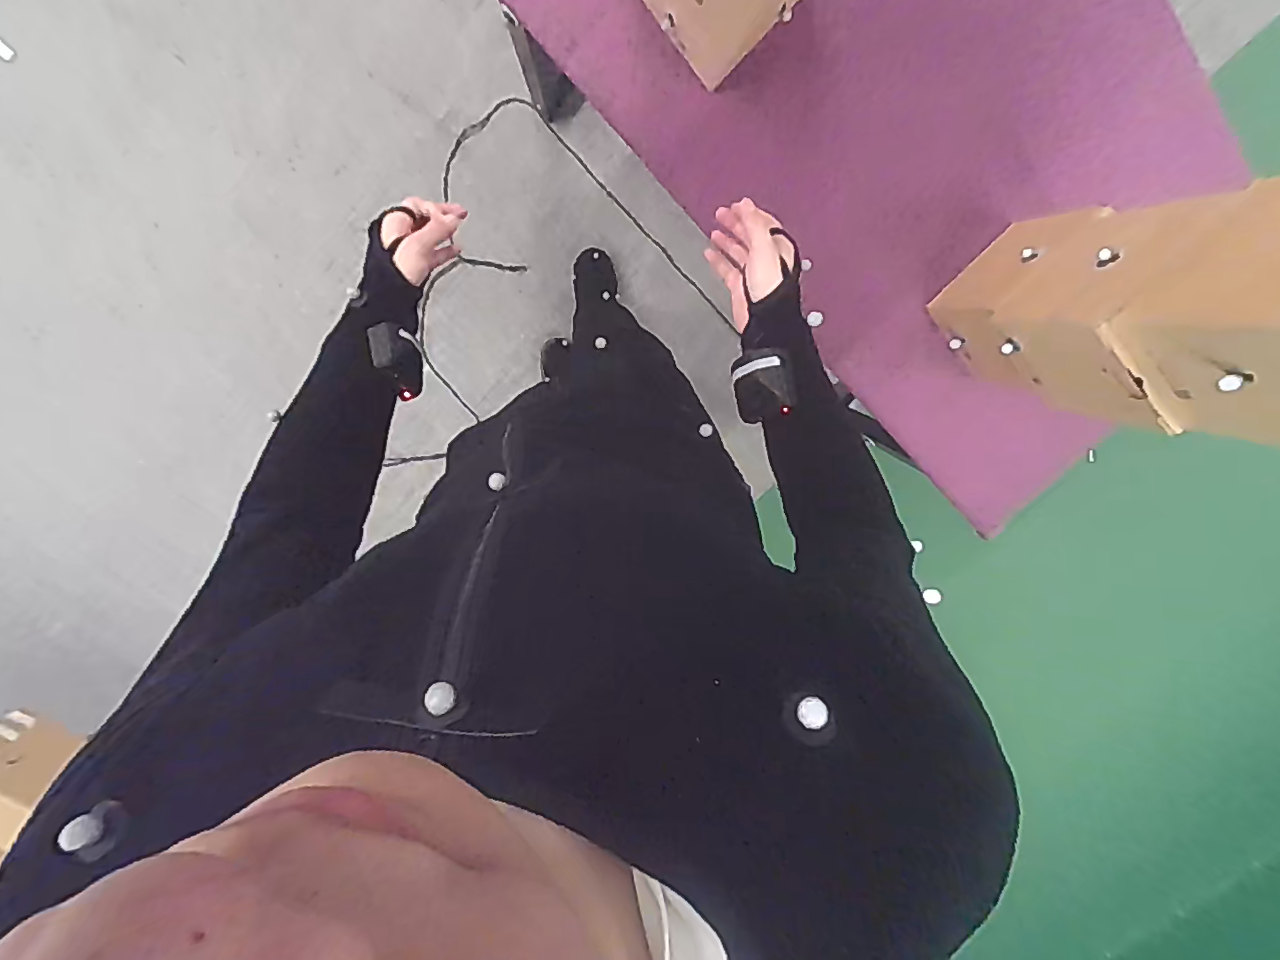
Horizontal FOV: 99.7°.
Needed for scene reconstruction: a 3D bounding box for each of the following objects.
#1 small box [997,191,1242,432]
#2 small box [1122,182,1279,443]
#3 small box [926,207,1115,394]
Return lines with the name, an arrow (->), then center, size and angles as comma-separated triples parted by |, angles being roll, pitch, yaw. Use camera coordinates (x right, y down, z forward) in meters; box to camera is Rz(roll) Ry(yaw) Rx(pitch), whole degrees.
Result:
small box -> 0.556, -0.185, 0.619 | 0.168, 0.176, 0.179 | 41, 100, -15
small box -> 0.576, -0.141, 0.464 | 0.168, 0.176, 0.179 | 40, 100, -15
small box -> 0.558, -0.250, 0.770 | 0.179, 0.176, 0.168 | -43, 106, 10
